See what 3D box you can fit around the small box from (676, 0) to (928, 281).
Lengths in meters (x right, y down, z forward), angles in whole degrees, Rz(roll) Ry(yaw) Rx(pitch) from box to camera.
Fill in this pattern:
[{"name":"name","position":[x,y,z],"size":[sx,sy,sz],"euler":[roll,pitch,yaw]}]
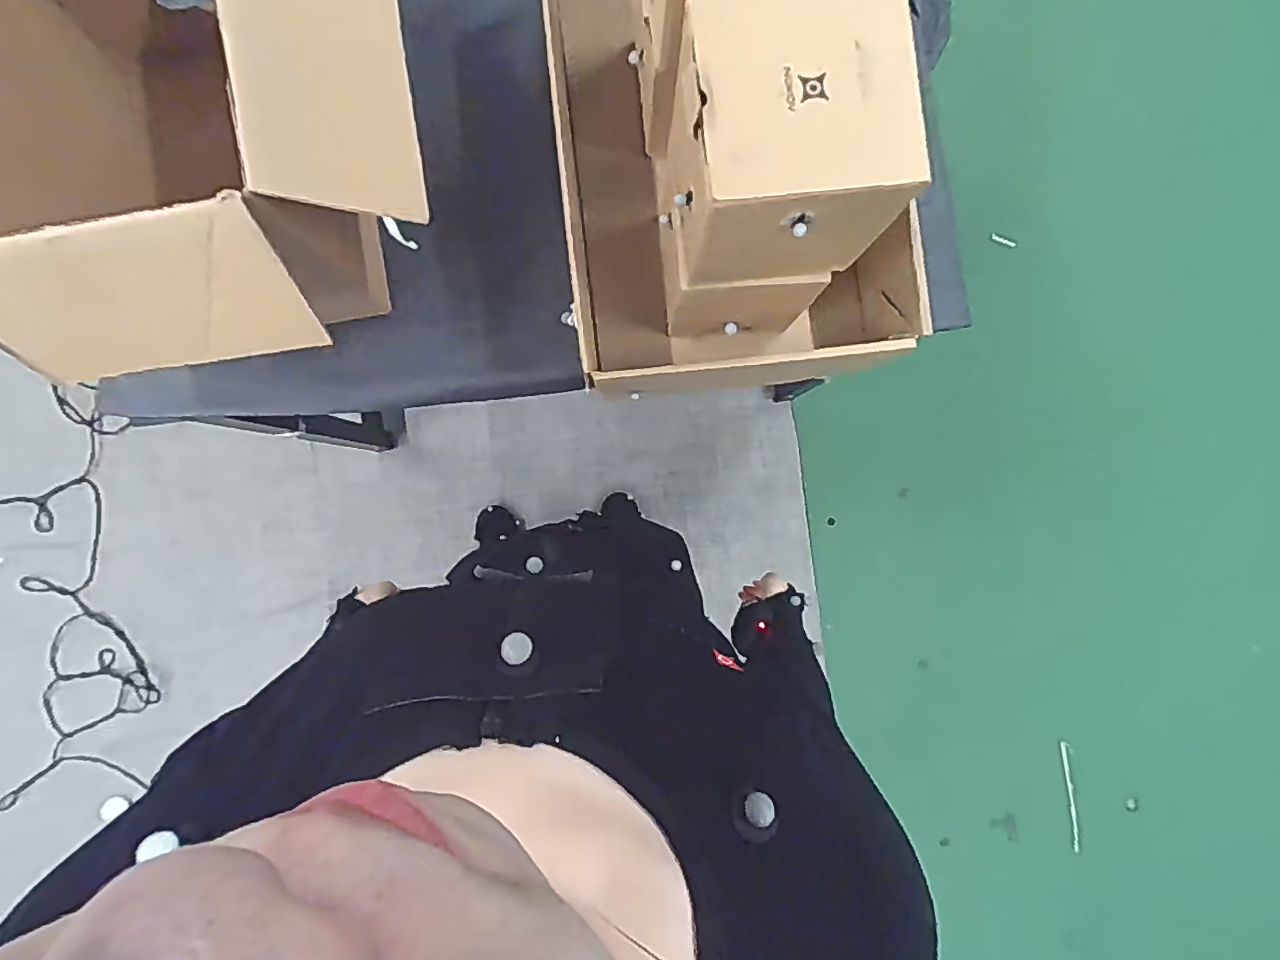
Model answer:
[{"name":"small box","position":[0.129,-0.299,0.502],"size":[0.179,0.176,0.168],"euler":[-6,89,-2]}]

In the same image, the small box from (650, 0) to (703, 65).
[{"name":"small box","position":[0.096,-0.530,0.507],"size":[0.179,0.176,0.168],"euler":[-7,91,-3]}]
